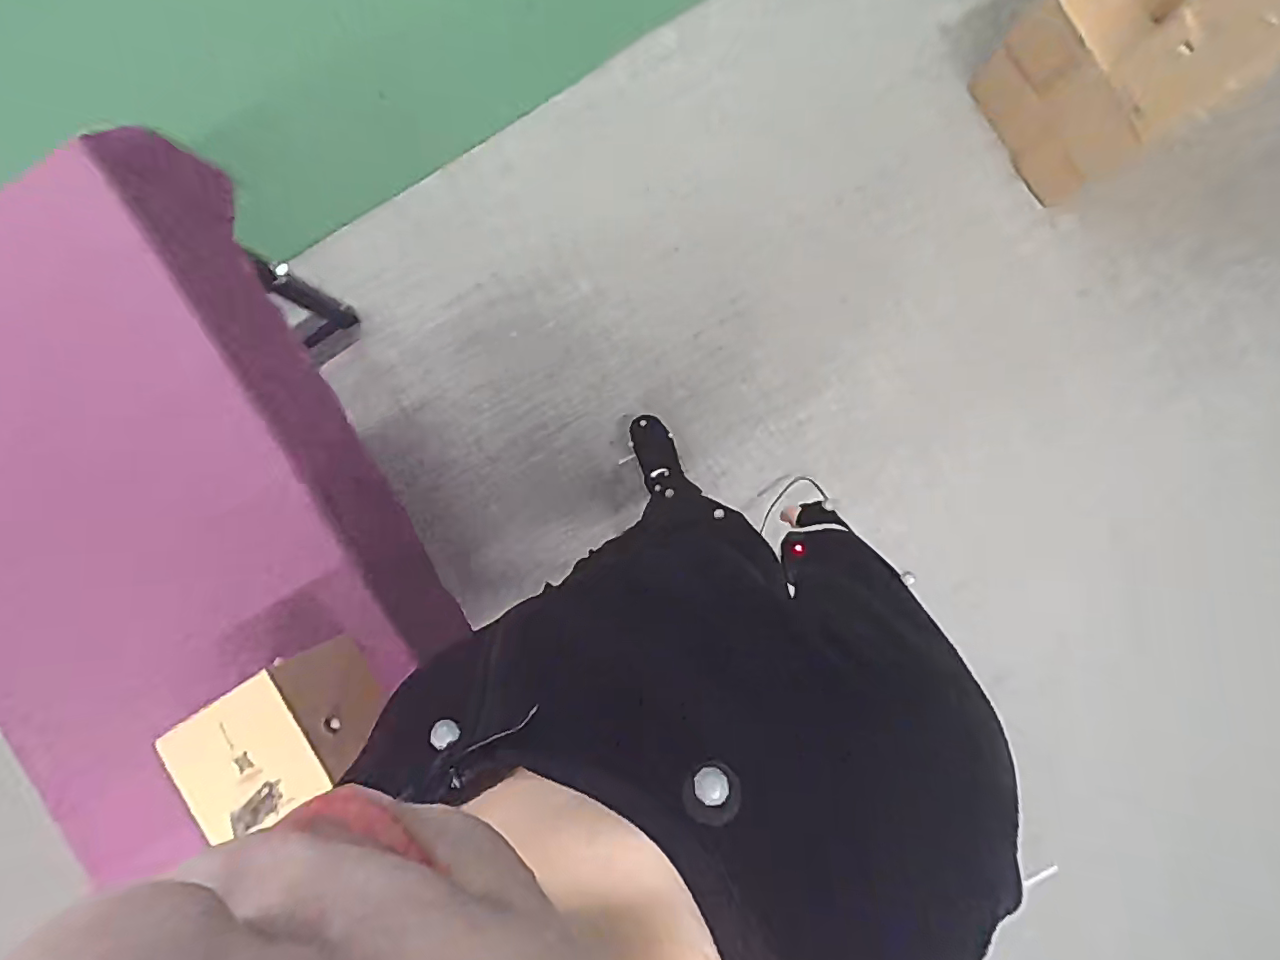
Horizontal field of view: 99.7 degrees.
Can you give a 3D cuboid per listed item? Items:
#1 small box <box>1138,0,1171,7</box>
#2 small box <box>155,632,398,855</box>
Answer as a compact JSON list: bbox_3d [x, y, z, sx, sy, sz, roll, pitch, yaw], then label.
[{"bbox_3d":[1.111,-1.109,1.082,0.168,0.176,0.179,-33,87,-1],"label":"small box"},{"bbox_3d":[-0.462,0.332,0.719,0.168,0.176,0.179,-33,87,2],"label":"small box"}]
